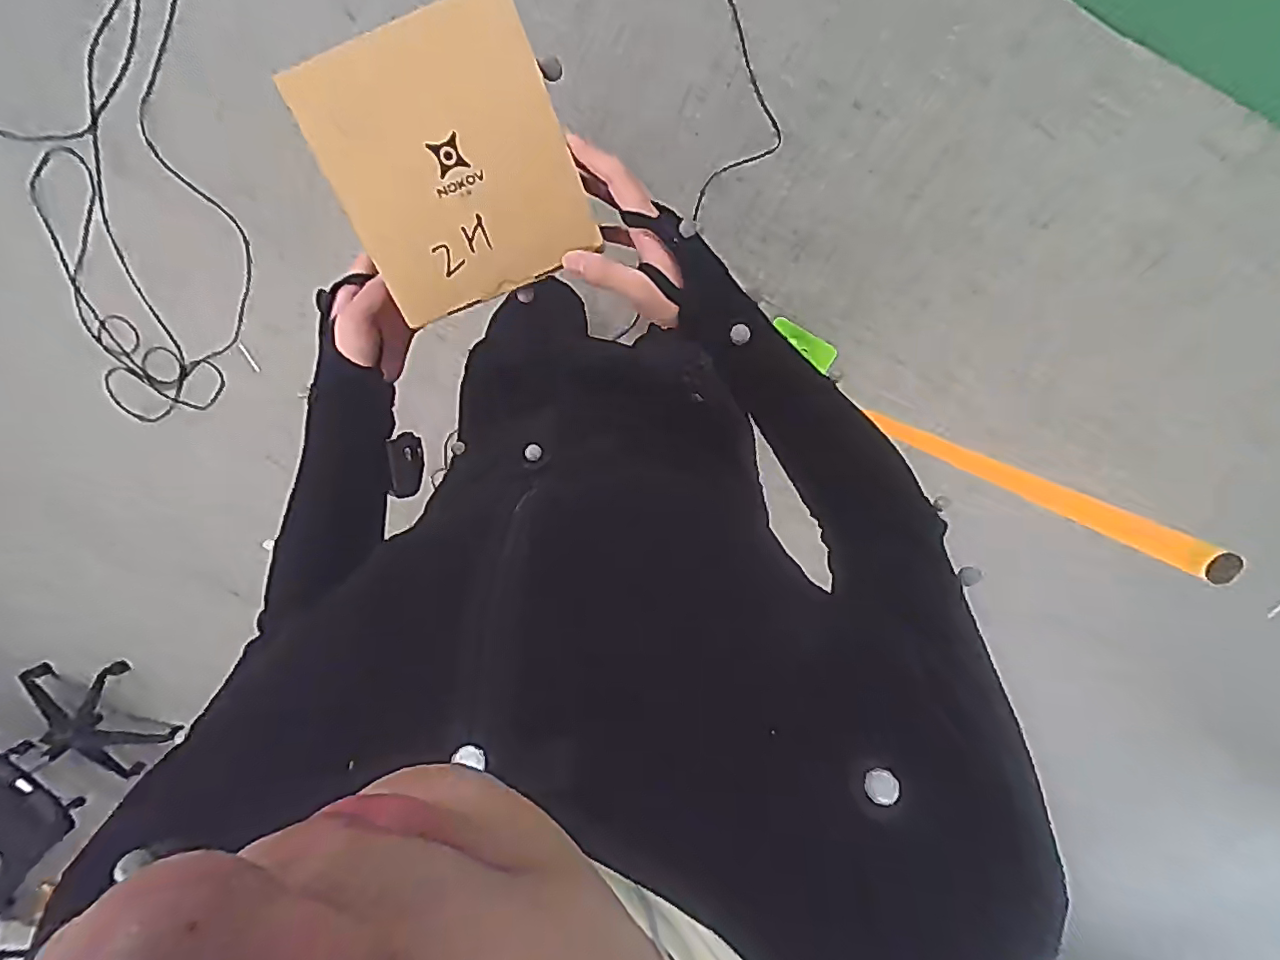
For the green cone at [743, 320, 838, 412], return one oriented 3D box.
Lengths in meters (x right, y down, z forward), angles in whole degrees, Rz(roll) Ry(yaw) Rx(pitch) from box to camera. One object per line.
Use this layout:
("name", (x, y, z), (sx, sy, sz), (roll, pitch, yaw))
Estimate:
("green cone", (0.394, -0.248, 1.317), (0.202, 0.368, 0.200), (28, 111, -5))
